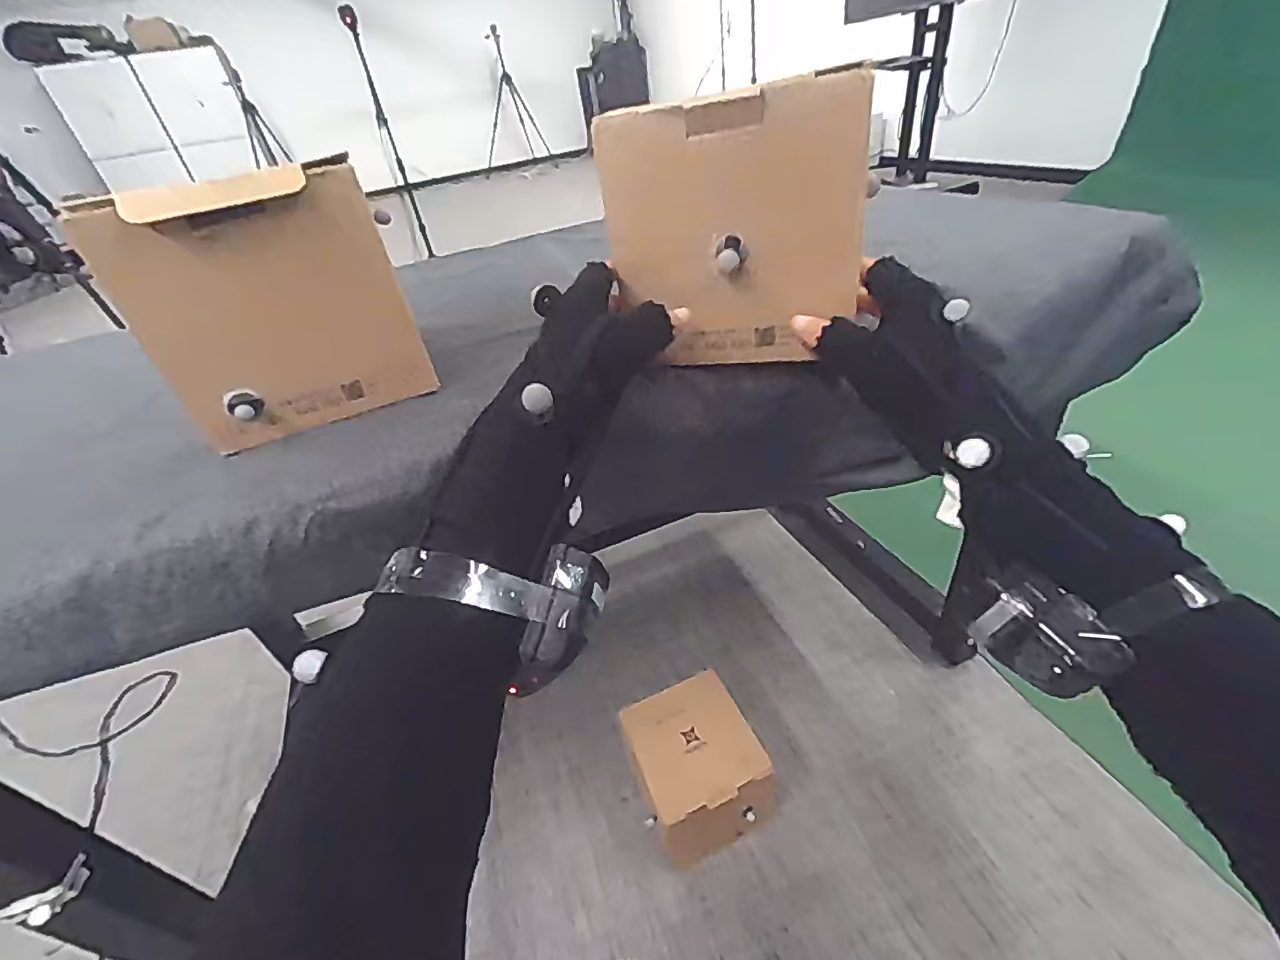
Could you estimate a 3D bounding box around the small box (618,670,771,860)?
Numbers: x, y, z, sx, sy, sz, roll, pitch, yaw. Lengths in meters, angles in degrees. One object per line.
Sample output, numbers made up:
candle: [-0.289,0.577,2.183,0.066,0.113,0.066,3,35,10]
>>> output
small box: [0.083,0.433,0.817,0.168,0.176,0.179,-20,36,-14]

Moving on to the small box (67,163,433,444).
small box: [-0.286,-0.147,0.446,0.168,0.176,0.179,-22,36,-16]

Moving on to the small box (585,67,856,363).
small box: [0.077,-0.198,0.423,0.168,0.176,0.179,0,36,18]
